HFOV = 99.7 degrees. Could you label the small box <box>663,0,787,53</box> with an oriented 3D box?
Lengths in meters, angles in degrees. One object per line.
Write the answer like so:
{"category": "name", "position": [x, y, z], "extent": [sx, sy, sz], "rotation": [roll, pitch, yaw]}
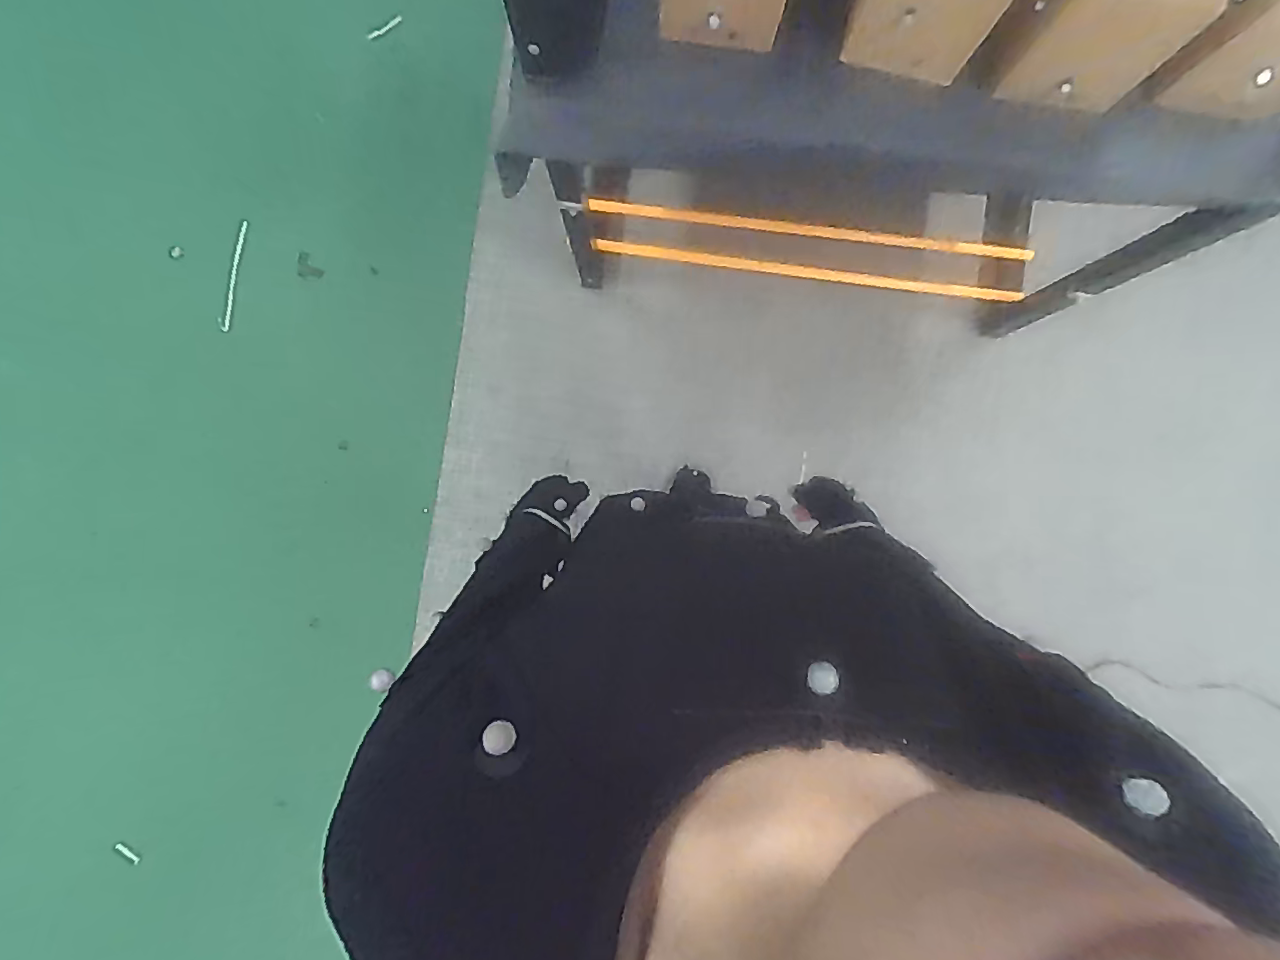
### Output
{"category": "small box", "position": [0.122, -0.716, 0.704], "extent": [0.168, 0.176, 0.179], "rotation": [7, 89, 1]}

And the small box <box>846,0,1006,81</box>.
{"category": "small box", "position": [0.388, -0.672, 0.703], "extent": [0.168, 0.176, 0.179], "rotation": [14, 88, 1]}

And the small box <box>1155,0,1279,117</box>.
{"category": "small box", "position": [0.825, -0.612, 0.694], "extent": [0.168, 0.176, 0.179], "rotation": [11, 87, 1]}
